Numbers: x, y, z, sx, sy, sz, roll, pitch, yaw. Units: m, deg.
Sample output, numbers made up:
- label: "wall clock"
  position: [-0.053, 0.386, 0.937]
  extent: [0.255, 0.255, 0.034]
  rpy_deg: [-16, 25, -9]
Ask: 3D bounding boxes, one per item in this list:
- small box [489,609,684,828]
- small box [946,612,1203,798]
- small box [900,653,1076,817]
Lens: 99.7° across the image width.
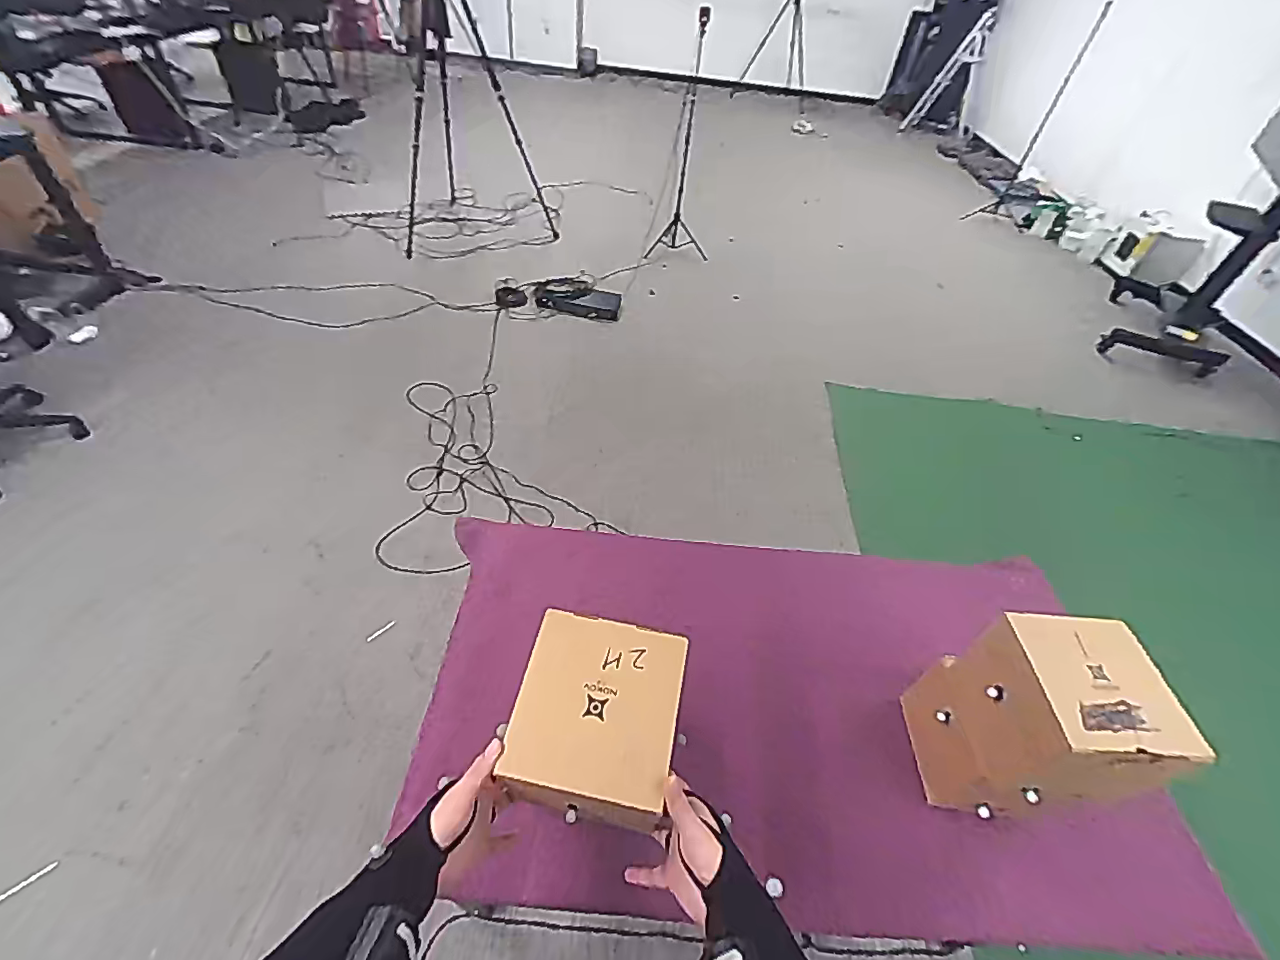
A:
- label: "small box"
  position: [-0.051, 0.278, 0.620]
  extent: [0.168, 0.176, 0.179]
  rpy_deg: [12, 52, 5]
- label: "small box"
  position: [0.544, 0.299, 0.712]
  extent: [0.168, 0.176, 0.179]
  rpy_deg: [5, 45, -1]
- label: "small box"
  position: [0.533, 0.398, 0.843]
  extent: [0.168, 0.176, 0.179]
  rpy_deg: [7, 46, 1]
